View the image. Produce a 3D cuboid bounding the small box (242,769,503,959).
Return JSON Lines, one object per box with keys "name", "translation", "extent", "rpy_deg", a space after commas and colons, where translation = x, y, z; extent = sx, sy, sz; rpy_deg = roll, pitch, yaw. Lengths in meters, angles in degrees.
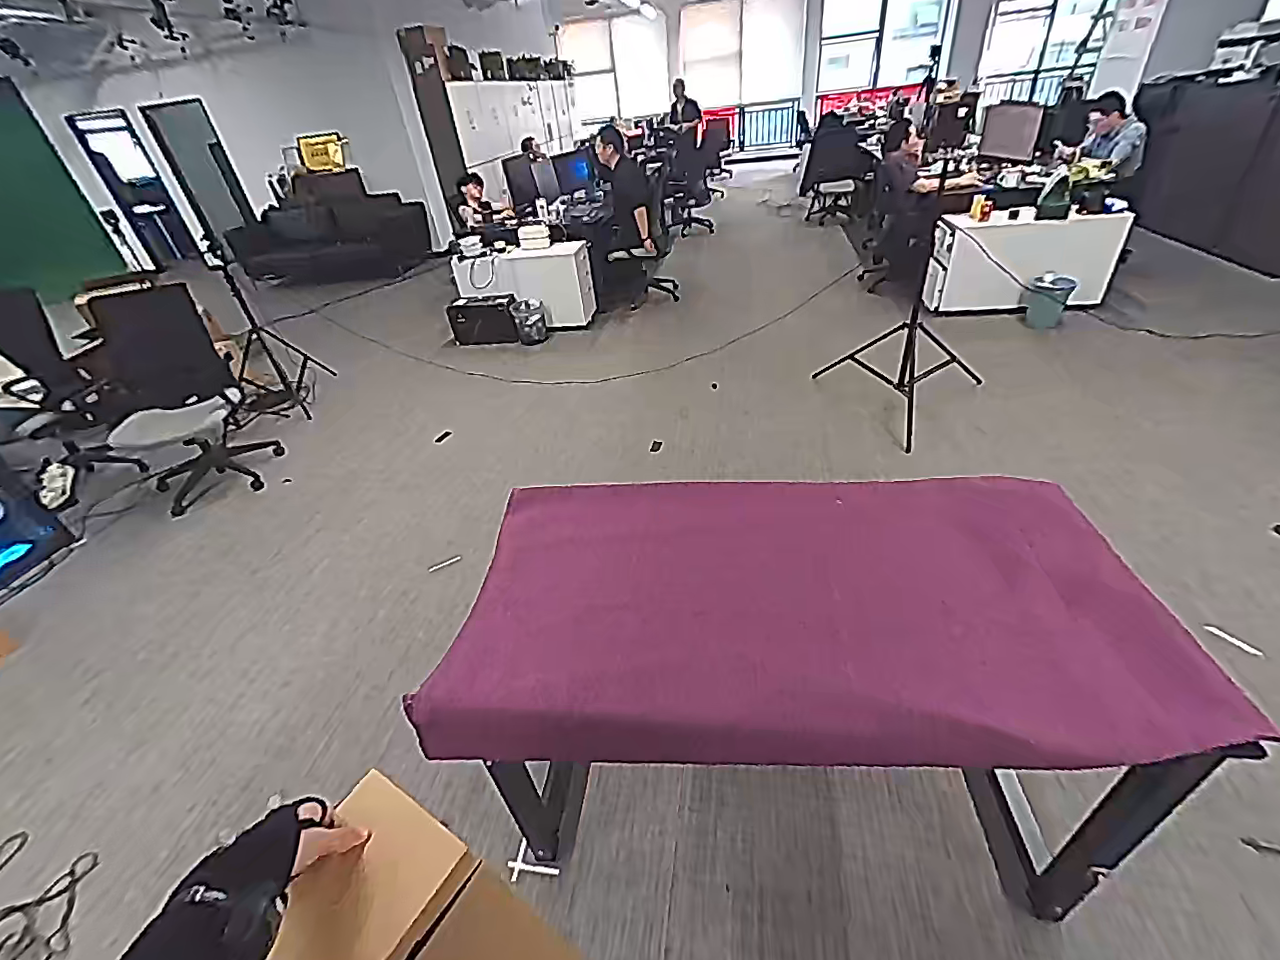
{"name": "small box", "translation": [-0.276, 0.470, 0.600], "extent": [0.179, 0.176, 0.168], "rpy_deg": [23, 47, 23]}
